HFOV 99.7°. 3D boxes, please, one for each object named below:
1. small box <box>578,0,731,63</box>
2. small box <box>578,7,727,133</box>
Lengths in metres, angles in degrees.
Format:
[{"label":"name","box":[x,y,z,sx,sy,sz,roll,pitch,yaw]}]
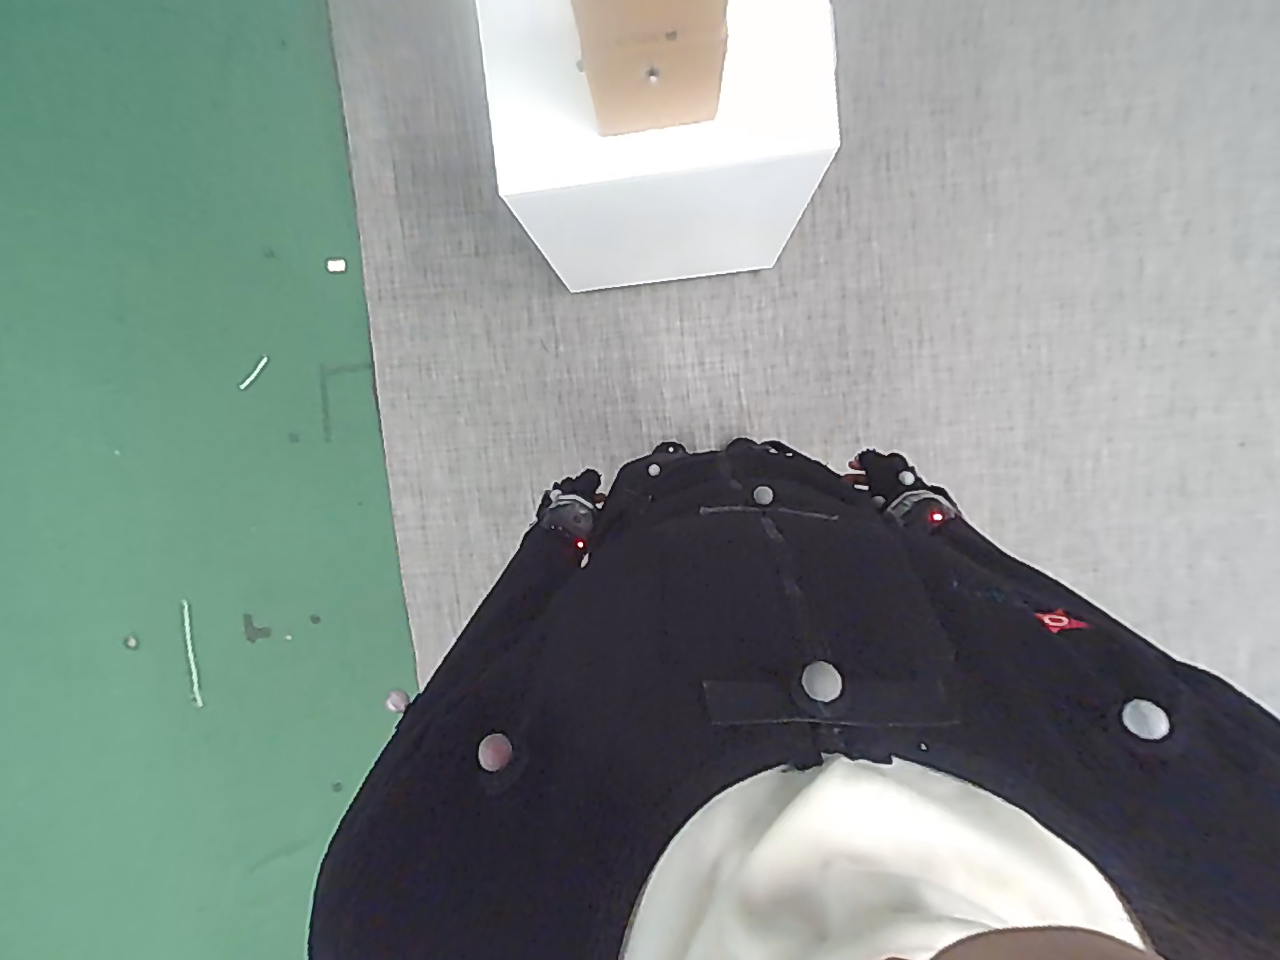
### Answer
[{"label":"small box","box":[0.007,-0.586,0.557,0.168,0.176,0.179,-7,95,3]},{"label":"small box","box":[0.016,-0.594,0.718,0.179,0.176,0.168,-6,94,4]}]
